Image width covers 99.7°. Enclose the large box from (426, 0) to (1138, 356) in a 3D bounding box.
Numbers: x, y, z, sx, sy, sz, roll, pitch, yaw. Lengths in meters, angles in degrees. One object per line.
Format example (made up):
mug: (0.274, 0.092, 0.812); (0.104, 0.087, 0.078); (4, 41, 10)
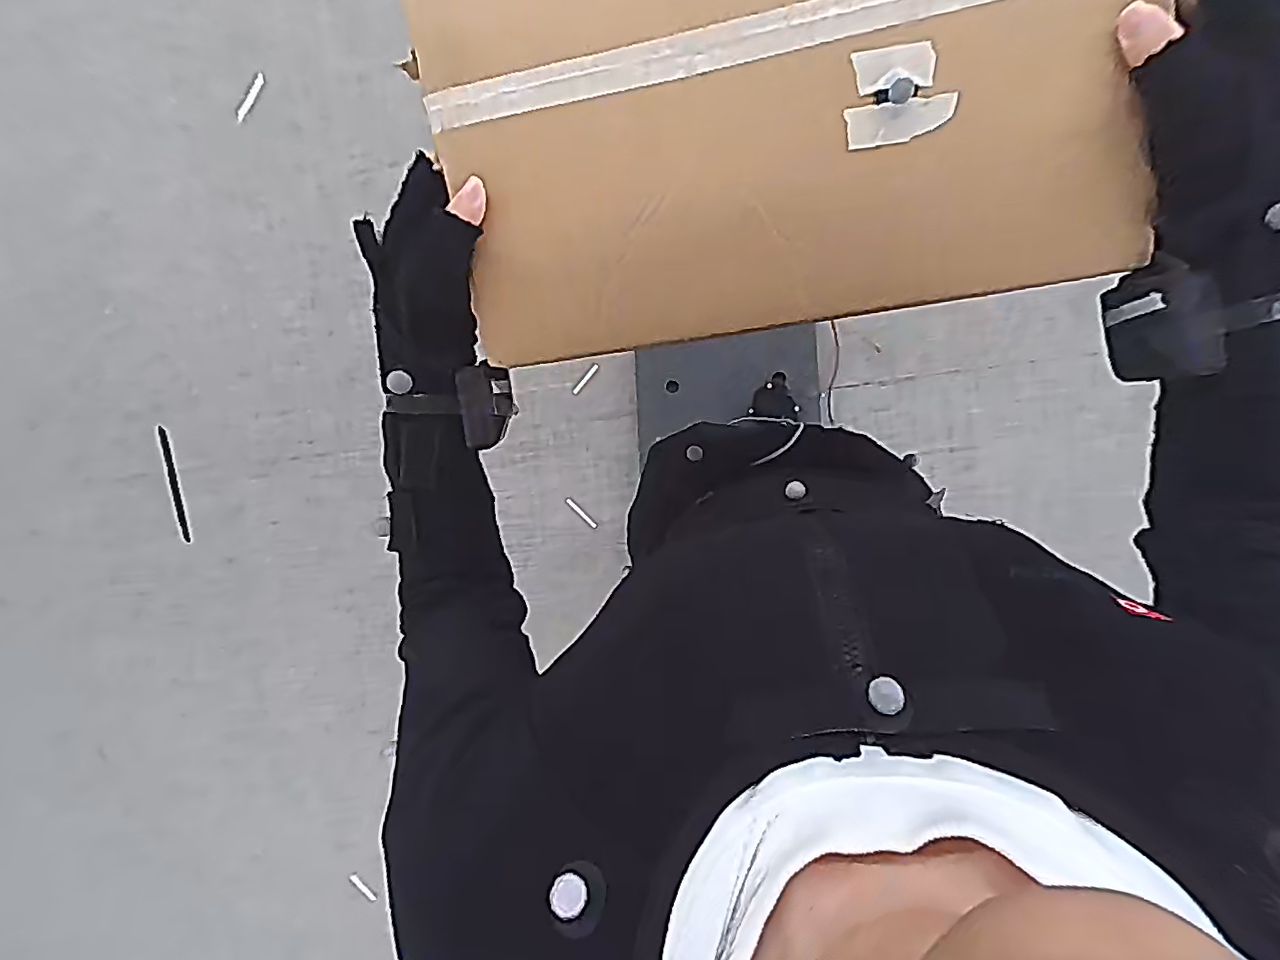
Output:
large box: (0.087, -0.299, 0.460); (0.408, 0.320, 0.320); (-7, 105, 8)
